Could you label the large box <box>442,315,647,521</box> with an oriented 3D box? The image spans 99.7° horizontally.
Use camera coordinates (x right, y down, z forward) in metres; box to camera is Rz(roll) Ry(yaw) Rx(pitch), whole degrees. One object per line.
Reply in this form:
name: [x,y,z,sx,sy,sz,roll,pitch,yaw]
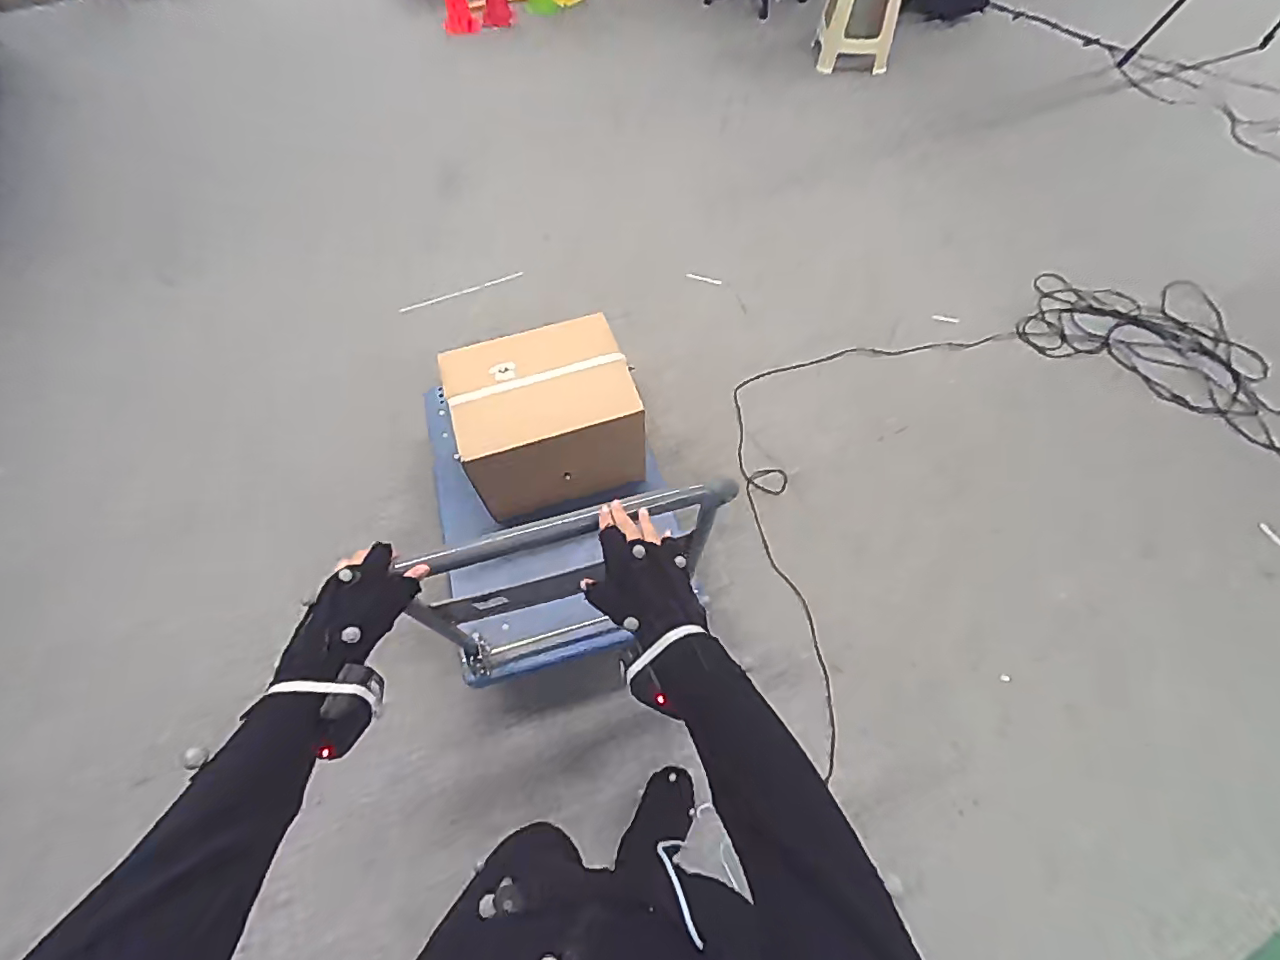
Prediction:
large box: [-0.220,-0.146,1.348,0.408,0.320,0.320,-18,62,-7]
